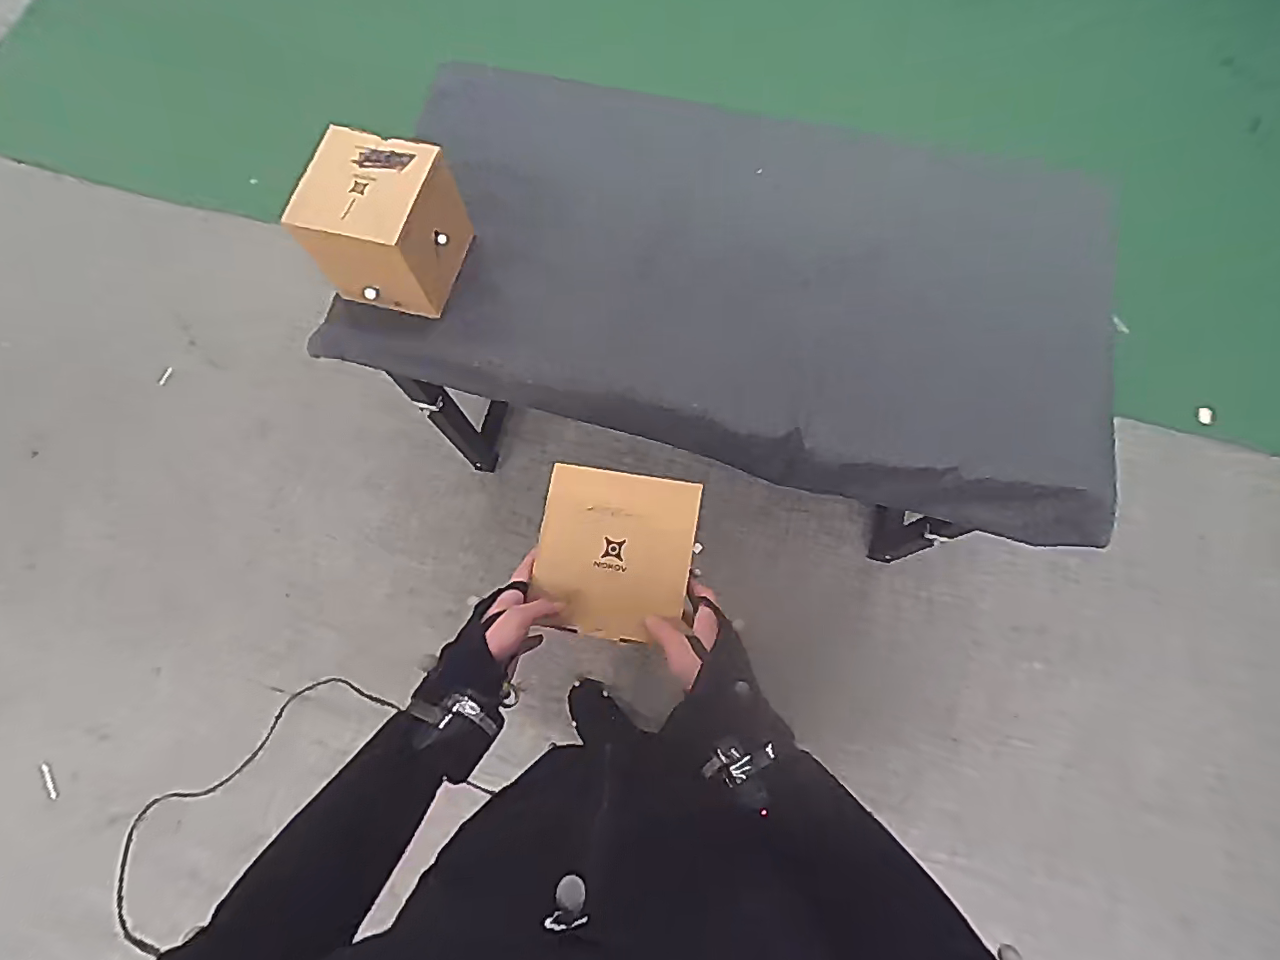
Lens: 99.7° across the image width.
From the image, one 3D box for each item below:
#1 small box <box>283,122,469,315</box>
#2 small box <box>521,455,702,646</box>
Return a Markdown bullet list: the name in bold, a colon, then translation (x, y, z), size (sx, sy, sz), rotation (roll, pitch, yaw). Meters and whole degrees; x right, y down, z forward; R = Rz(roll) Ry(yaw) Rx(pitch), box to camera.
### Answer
- **small box**: translation (-0.372, -0.380, 0.804), size (0.168, 0.176, 0.179), rotation (13, 73, 4)
- **small box**: translation (-0.022, 0.086, 0.635), size (0.168, 0.176, 0.179), rotation (9, 78, 6)
